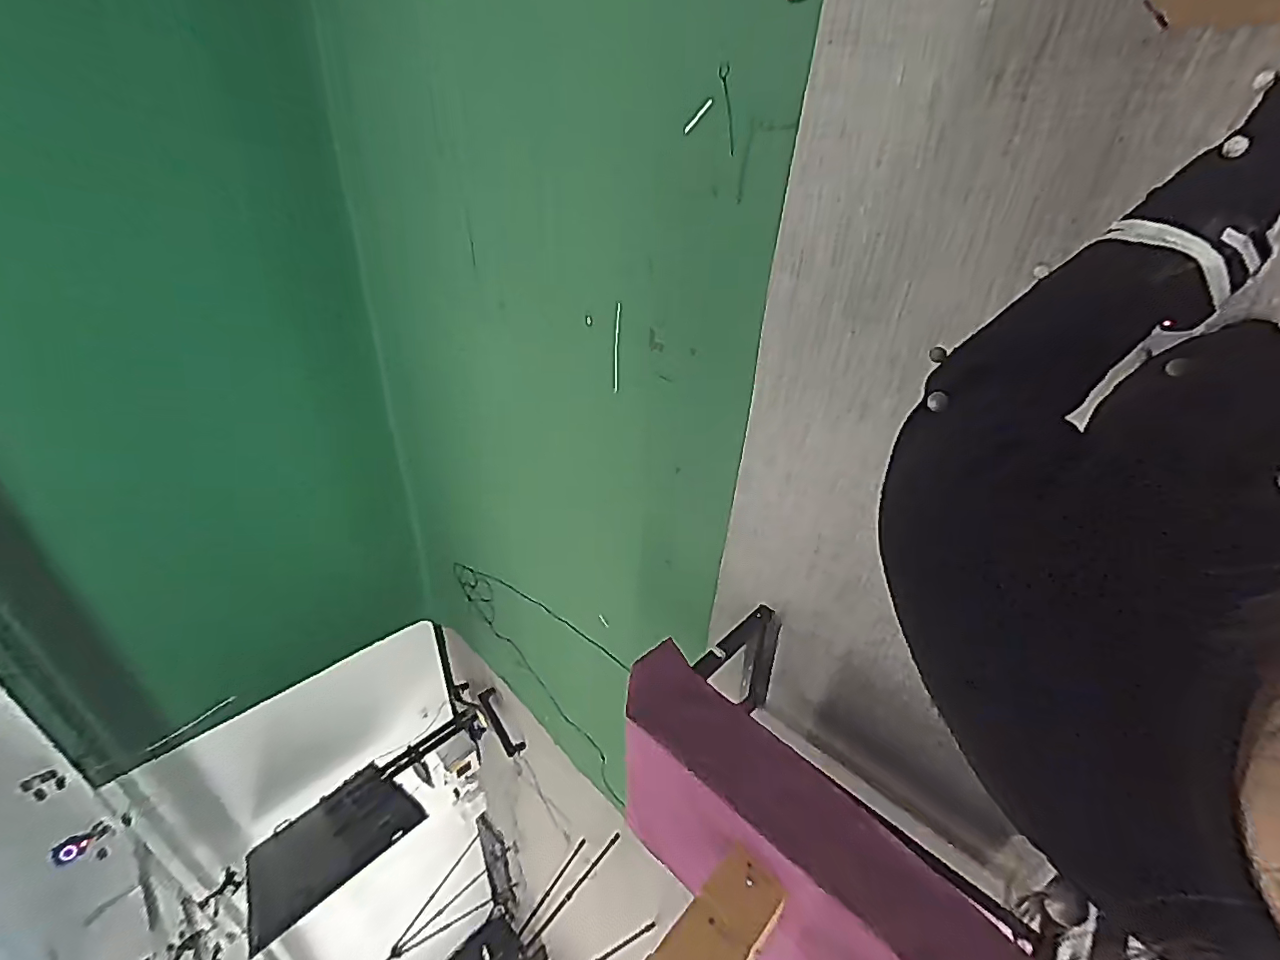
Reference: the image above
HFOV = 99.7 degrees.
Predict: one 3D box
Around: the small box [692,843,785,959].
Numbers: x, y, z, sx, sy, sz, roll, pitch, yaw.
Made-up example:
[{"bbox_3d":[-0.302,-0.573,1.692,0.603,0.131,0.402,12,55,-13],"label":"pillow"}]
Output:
[{"bbox_3d":[0.255,1.106,1.406,0.168,0.176,0.179,29,130,35],"label":"small box"}]
